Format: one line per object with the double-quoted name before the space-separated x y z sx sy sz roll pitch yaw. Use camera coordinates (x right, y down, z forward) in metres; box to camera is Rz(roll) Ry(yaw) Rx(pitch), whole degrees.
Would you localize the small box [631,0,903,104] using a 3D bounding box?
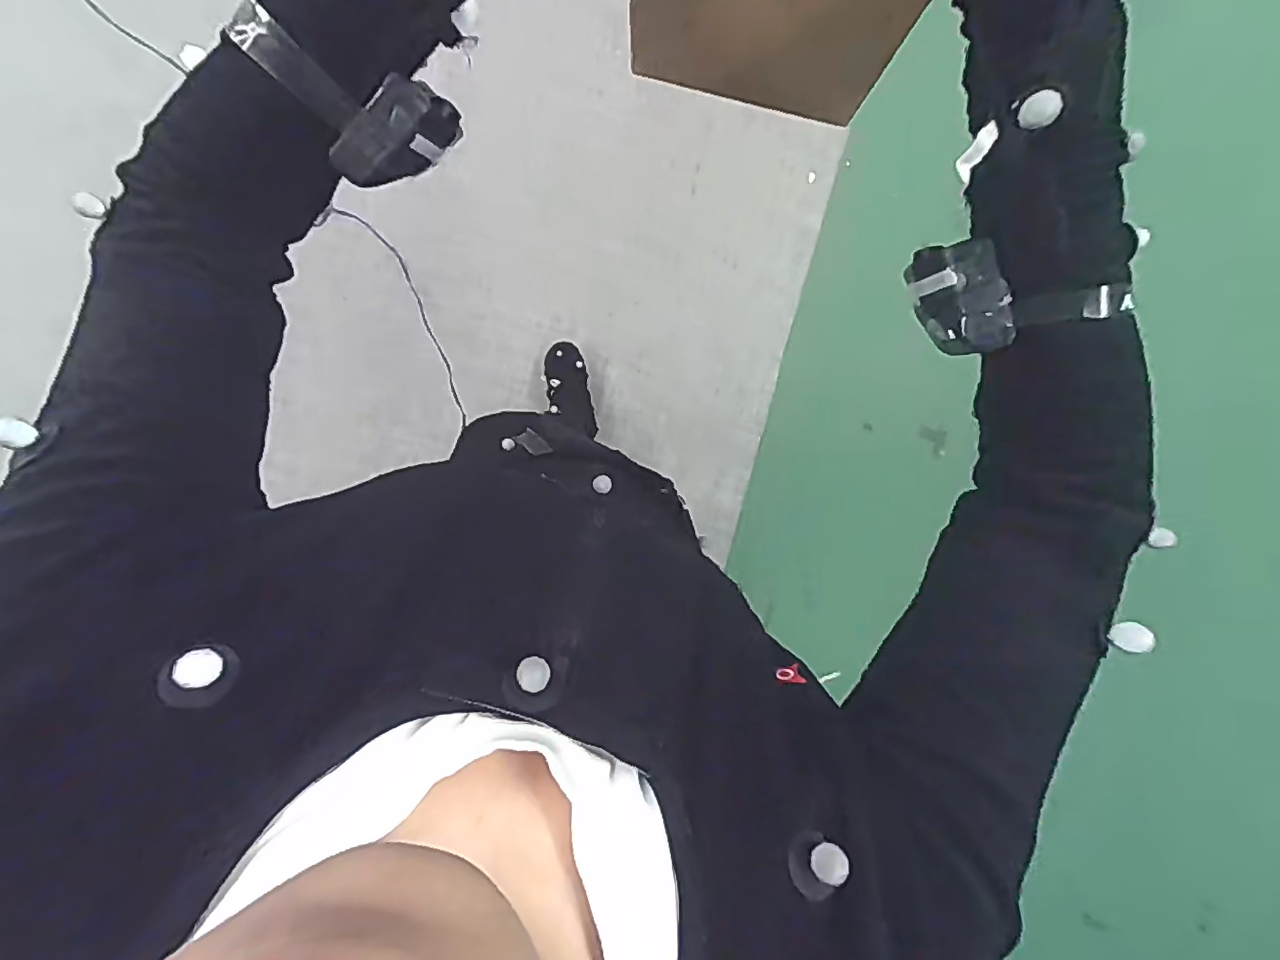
"small box" 0.093 -0.377 0.334 0.179 0.176 0.168 13 94 -2
